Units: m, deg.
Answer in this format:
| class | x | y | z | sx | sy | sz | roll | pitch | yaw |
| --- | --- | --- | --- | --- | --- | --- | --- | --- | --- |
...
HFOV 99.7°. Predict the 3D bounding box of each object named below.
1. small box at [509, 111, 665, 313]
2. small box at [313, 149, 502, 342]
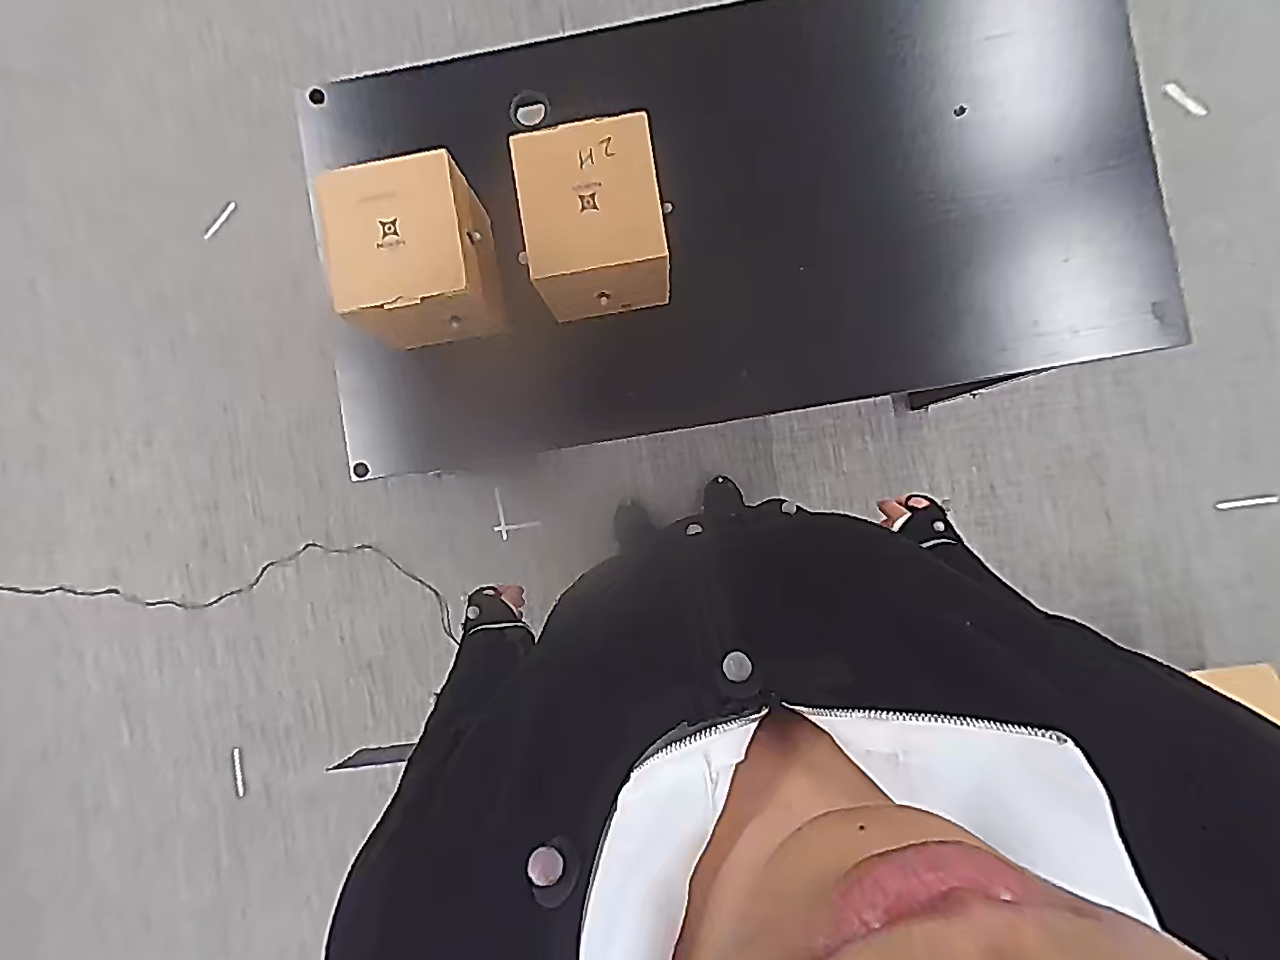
| class | x | y | z | sx | sy | sz | roll | pitch | yaw |
| --- | --- | --- | --- | --- | --- | --- | --- | --- | --- |
| small box | -0.059 | -0.331 | 0.709 | 0.168 | 0.176 | 0.179 | -9 | 89 | 2 |
| small box | -0.296 | -0.295 | 0.723 | 0.168 | 0.176 | 0.179 | -10 | 88 | 1 |
